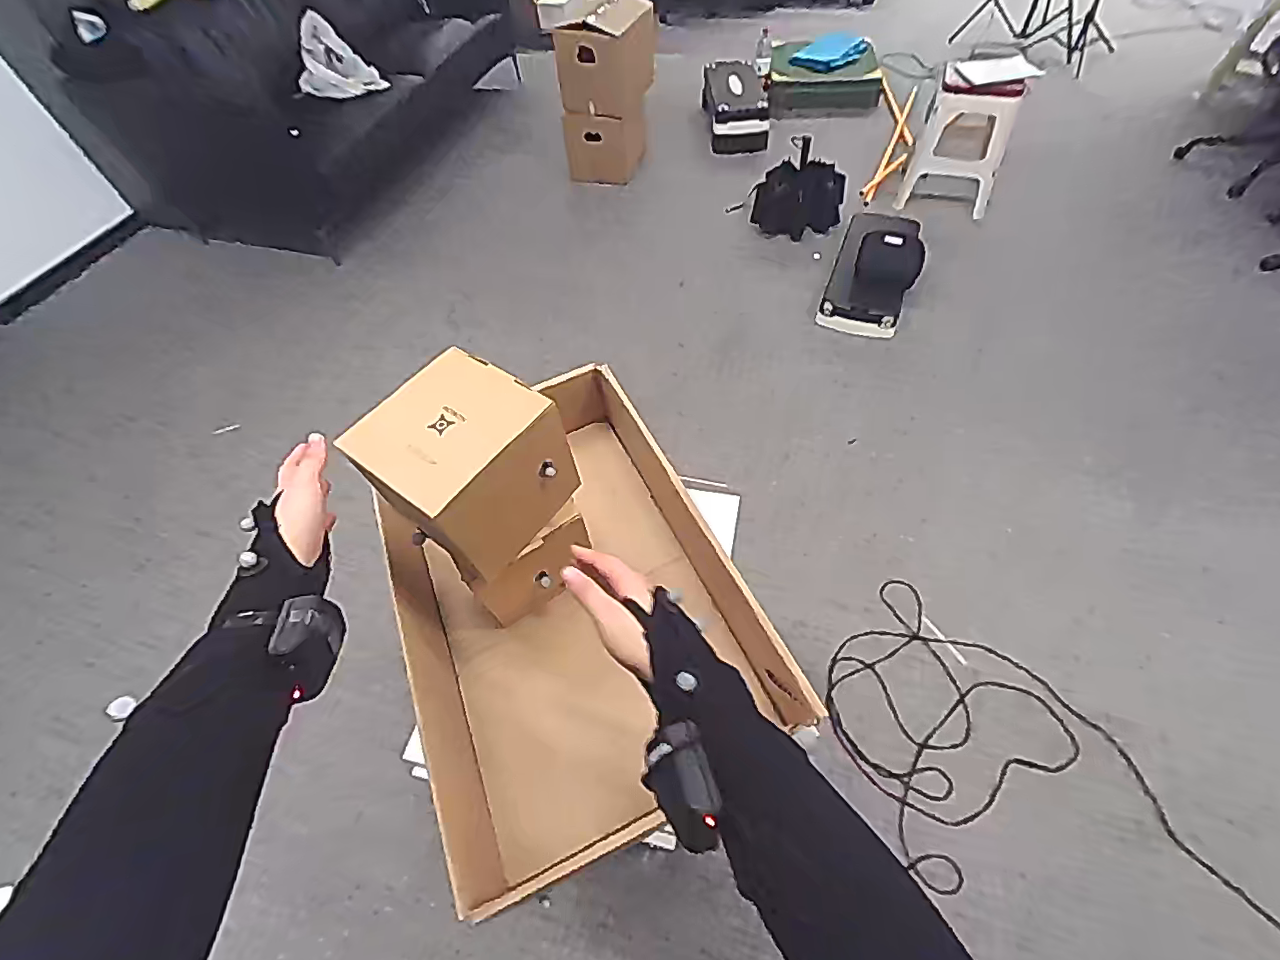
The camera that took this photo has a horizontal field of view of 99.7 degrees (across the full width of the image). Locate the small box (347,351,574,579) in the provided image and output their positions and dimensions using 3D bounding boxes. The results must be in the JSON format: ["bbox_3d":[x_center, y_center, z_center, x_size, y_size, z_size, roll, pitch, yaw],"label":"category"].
[{"bbox_3d":[-0.197,-0.015,0.652,0.168,0.176,0.179,29,65,24],"label":"small box"}]
